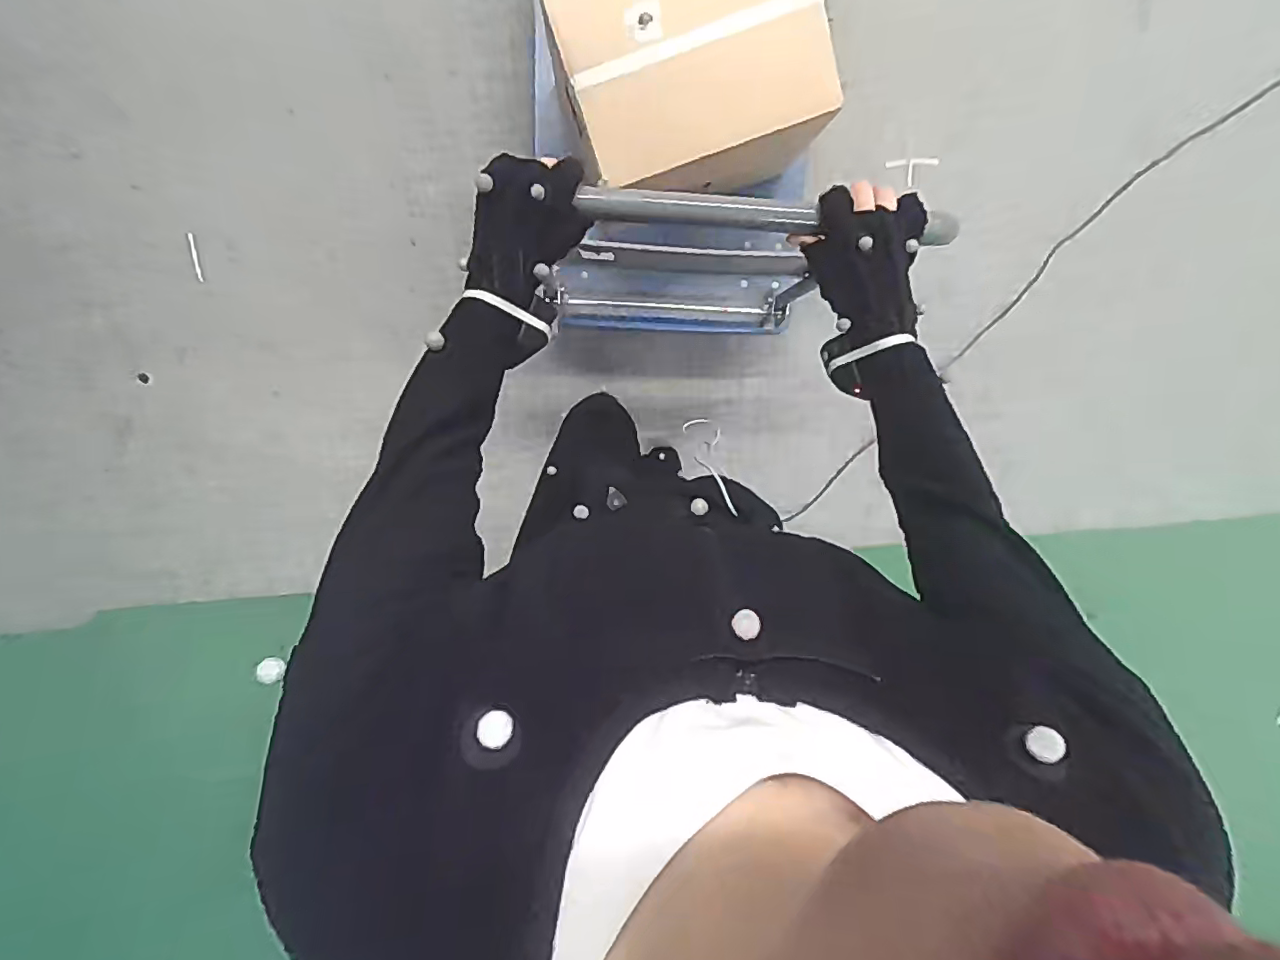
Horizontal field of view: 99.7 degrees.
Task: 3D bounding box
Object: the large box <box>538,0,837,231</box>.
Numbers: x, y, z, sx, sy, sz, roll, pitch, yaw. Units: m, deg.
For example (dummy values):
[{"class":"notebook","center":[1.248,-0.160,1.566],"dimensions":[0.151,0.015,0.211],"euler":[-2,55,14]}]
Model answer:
[{"class":"large box","center":[0.076,-0.707,0.981],"dimensions":[0.408,0.320,0.320],"euler":[-20,101,3]}]
